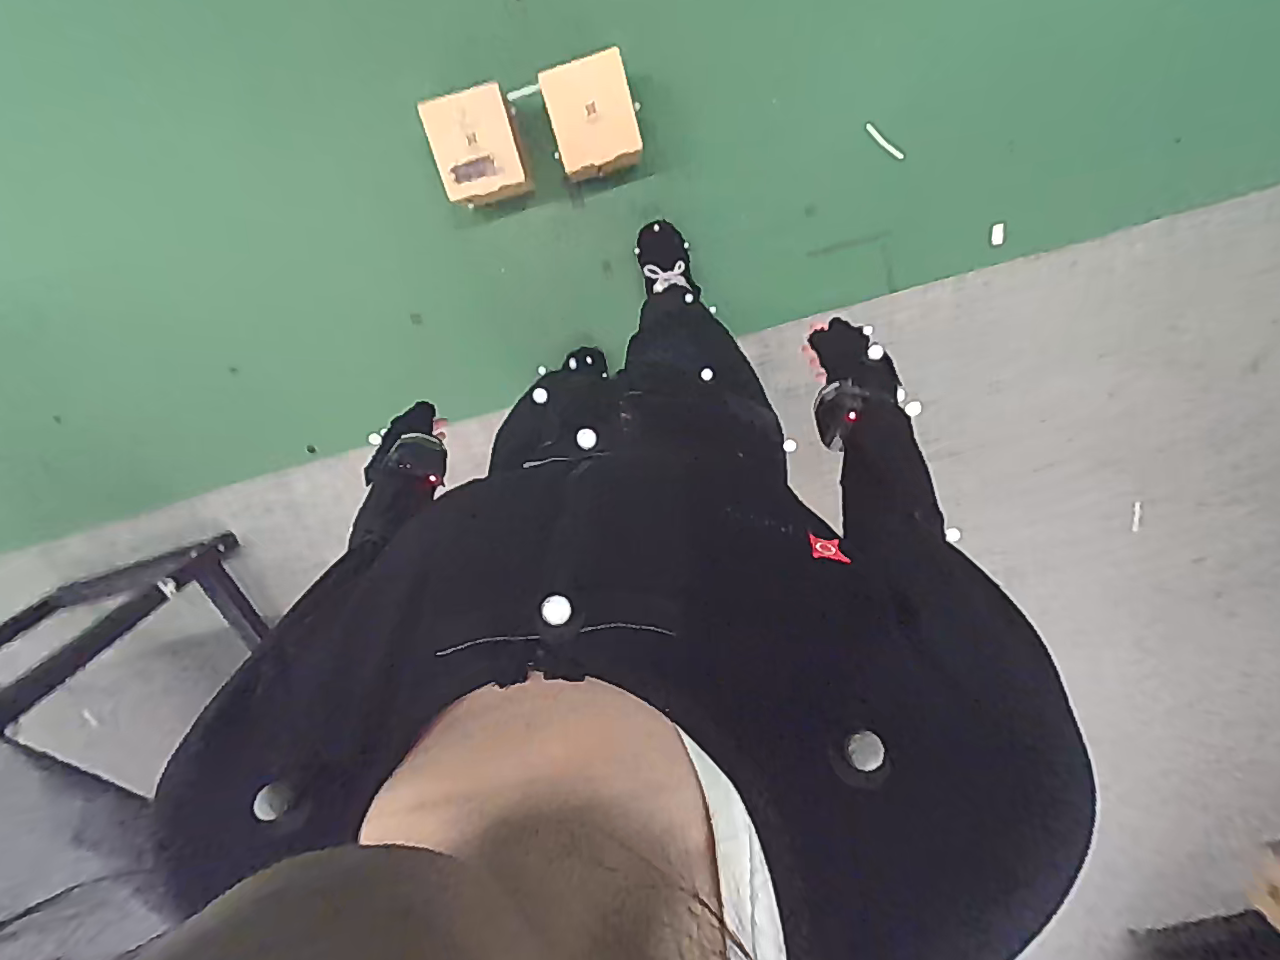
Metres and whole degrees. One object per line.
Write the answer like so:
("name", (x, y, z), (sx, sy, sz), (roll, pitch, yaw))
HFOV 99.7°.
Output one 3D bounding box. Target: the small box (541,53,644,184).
("small box", (-0.098, -0.749, 1.139), (0.168, 0.176, 0.179), (-16, 114, 3))
